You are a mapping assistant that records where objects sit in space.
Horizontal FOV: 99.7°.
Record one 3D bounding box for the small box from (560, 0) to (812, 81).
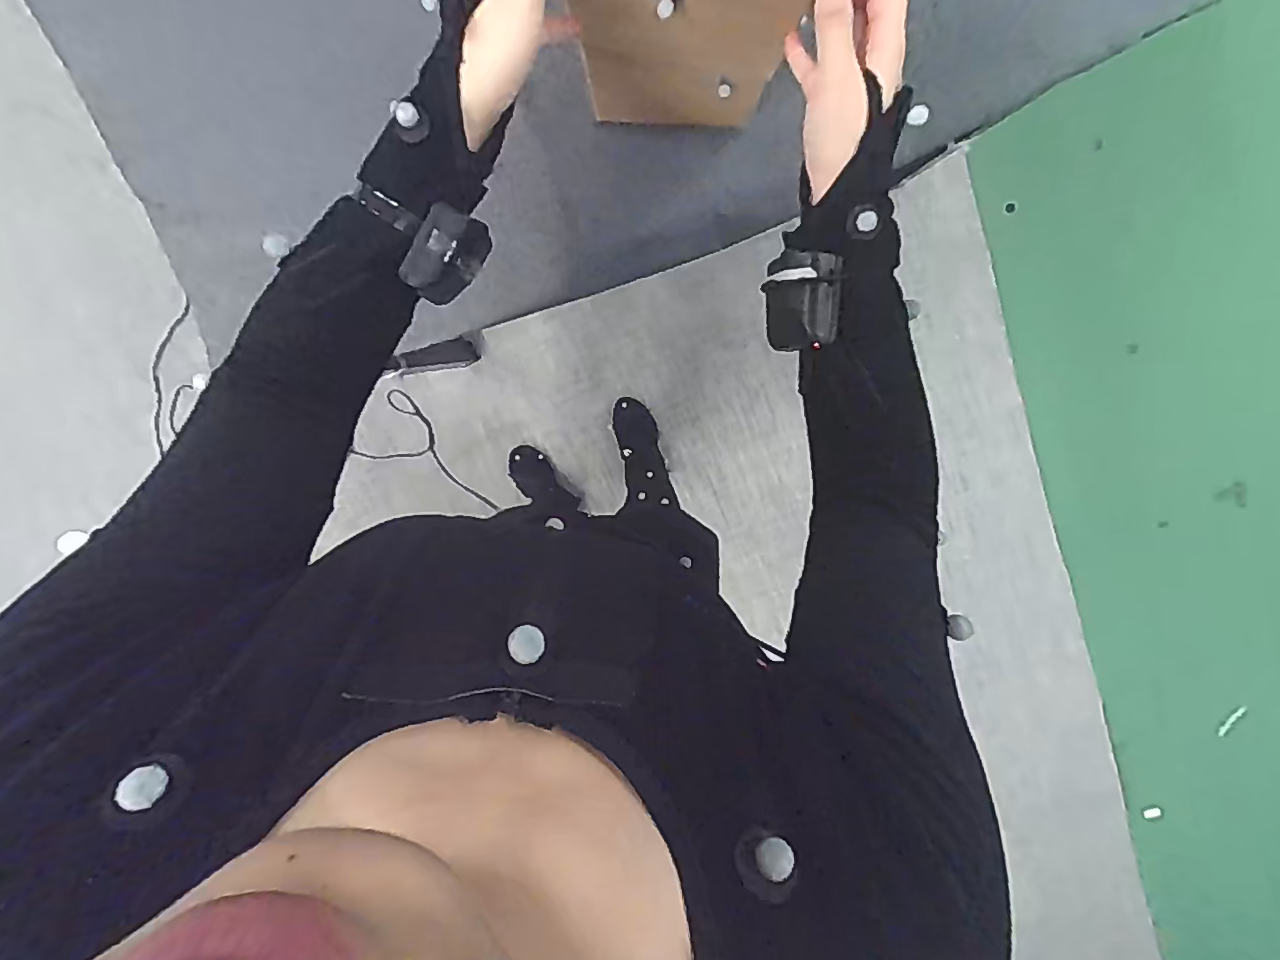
[{"bbox_3d":[0.040,-0.408,0.366,0.179,0.176,0.168,11,105,-2],"label":"small box"}]
